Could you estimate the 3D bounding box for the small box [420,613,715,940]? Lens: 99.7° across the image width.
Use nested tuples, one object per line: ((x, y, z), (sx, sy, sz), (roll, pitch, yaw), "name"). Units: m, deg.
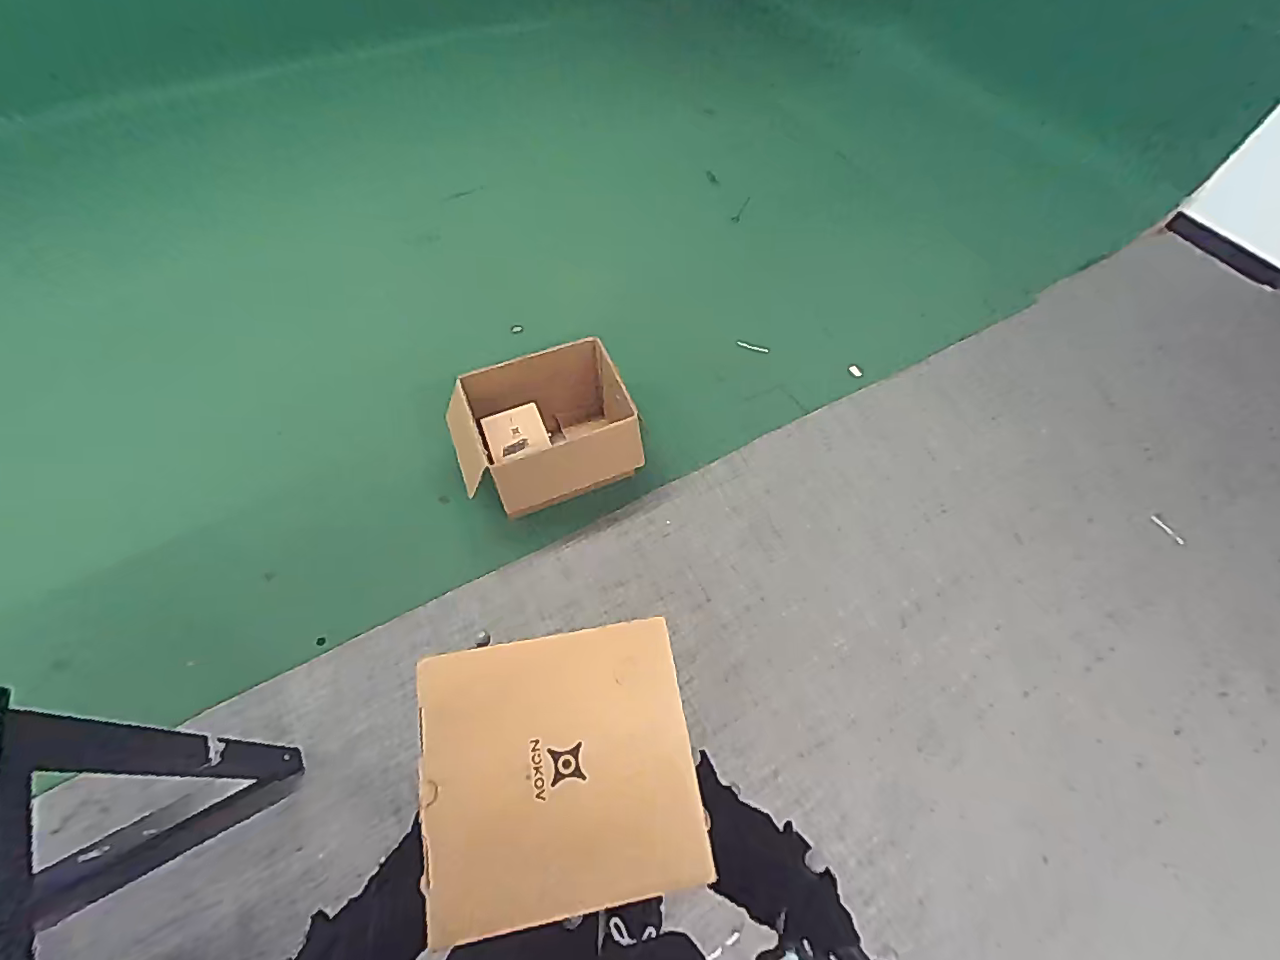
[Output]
((-0.057, 0.209, 0.425), (0.179, 0.176, 0.168), (-9, 70, -7), "small box")
